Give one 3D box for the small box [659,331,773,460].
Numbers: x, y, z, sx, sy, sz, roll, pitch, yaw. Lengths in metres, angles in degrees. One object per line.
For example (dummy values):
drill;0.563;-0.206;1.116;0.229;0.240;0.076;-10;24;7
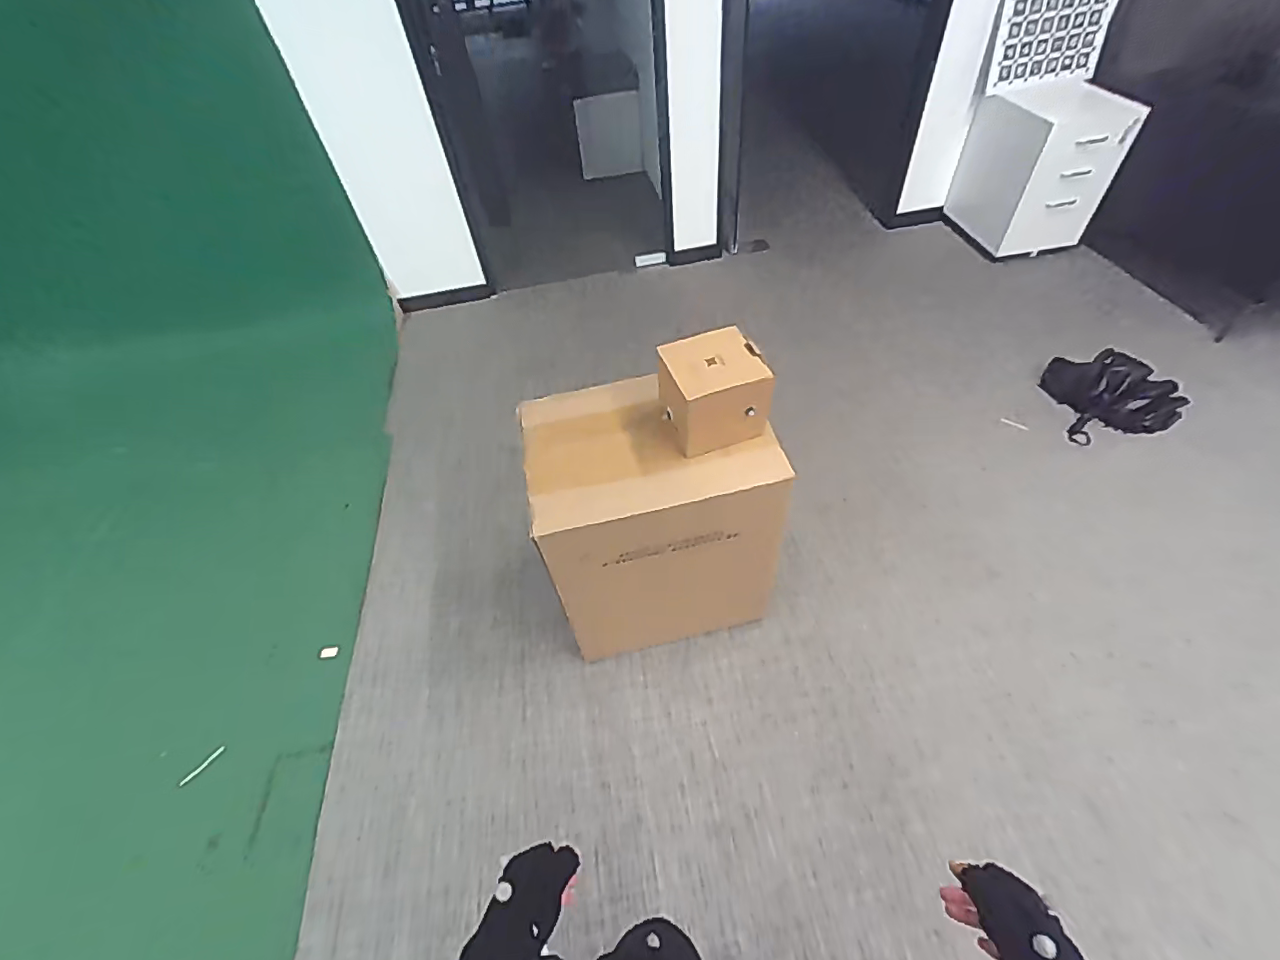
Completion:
small box;0.148;-0.169;1.105;0.179;0.176;0.168;-19;53;-8
